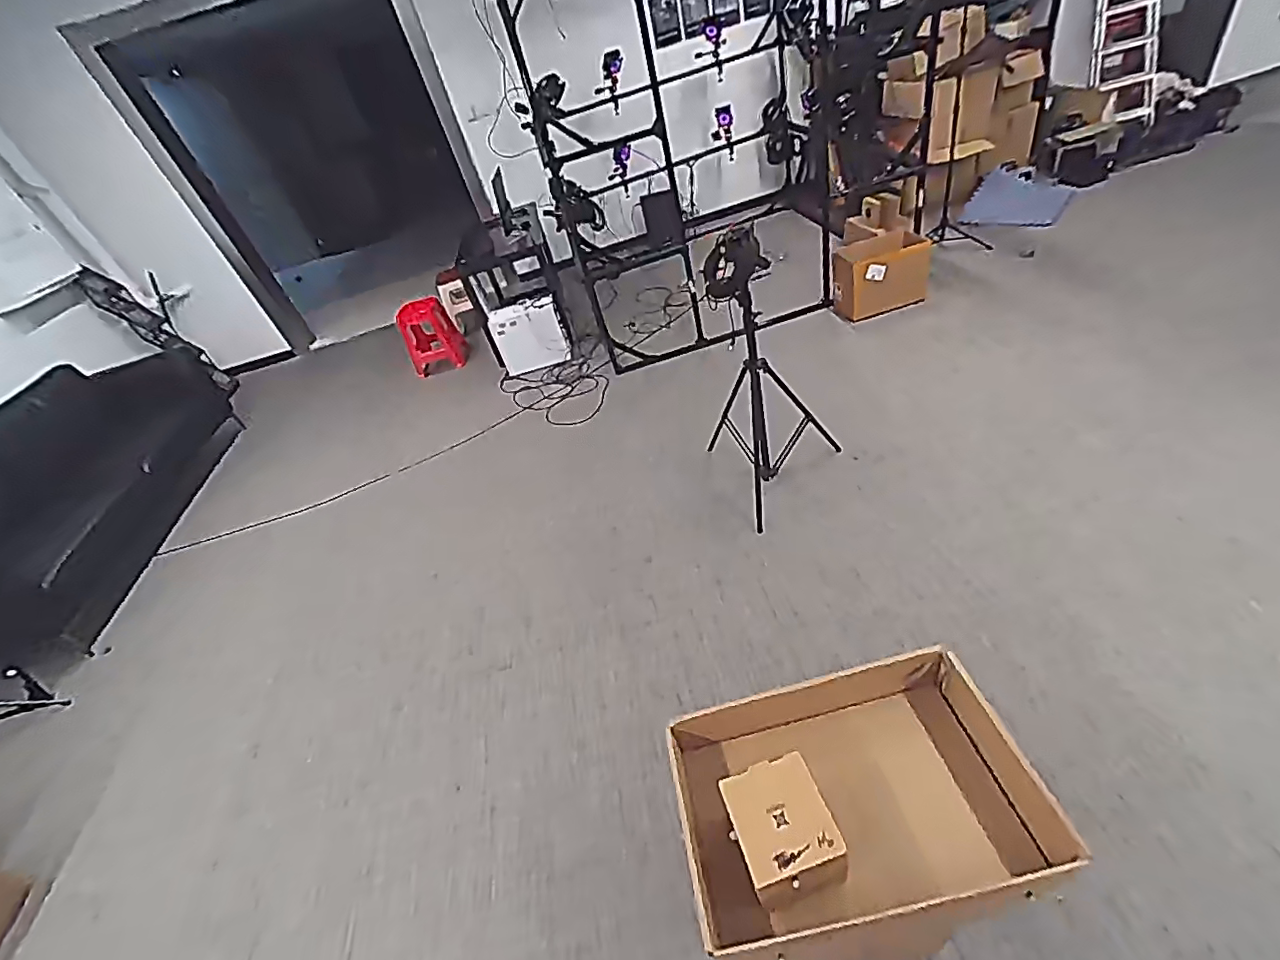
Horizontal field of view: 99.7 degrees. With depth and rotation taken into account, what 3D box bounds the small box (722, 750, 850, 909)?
[{"bbox_3d":[0.266,0.643,0.995,0.168,0.176,0.179,-21,39,-2],"label":"small box"}]
